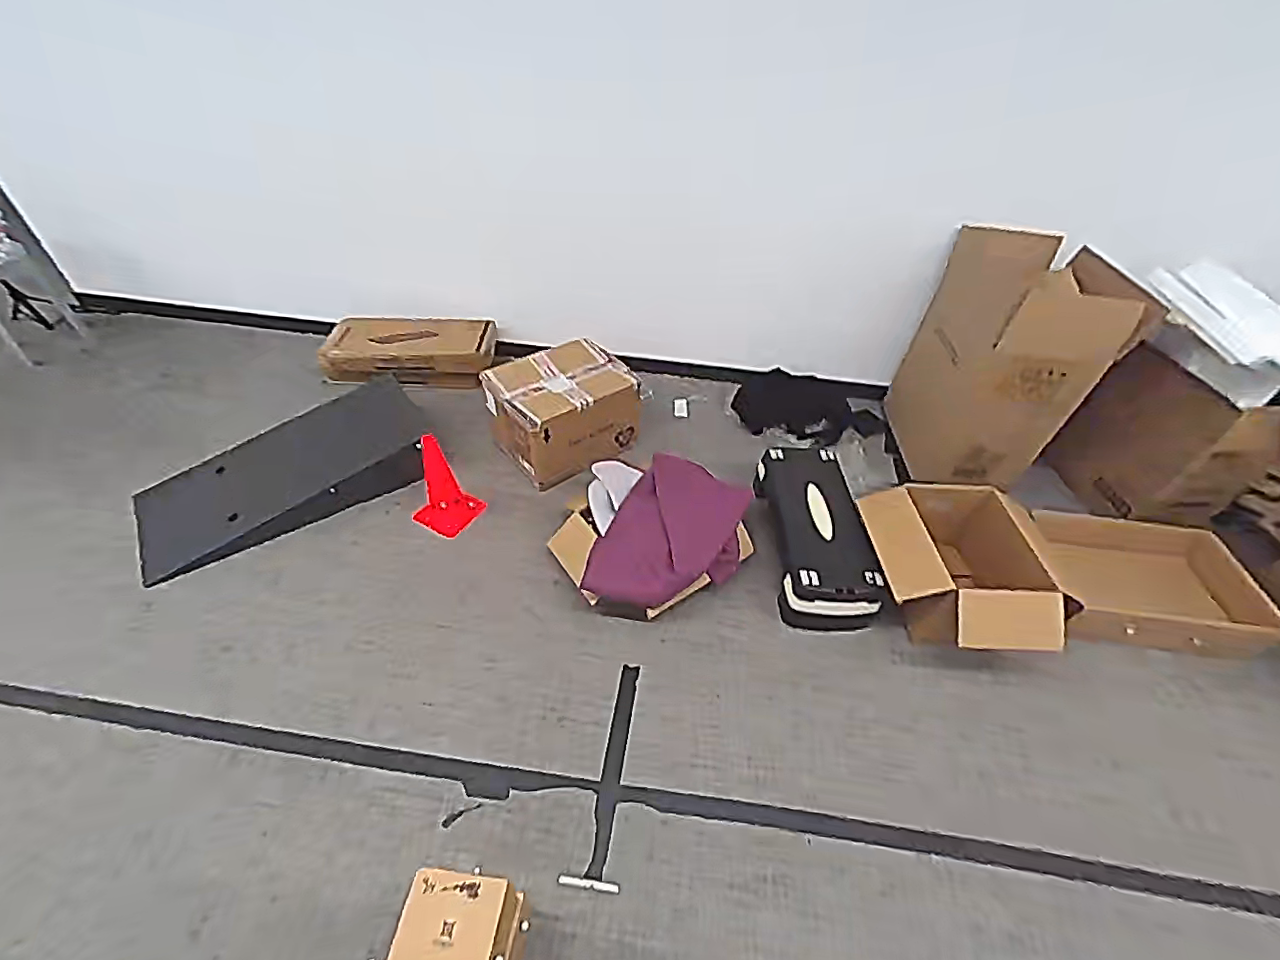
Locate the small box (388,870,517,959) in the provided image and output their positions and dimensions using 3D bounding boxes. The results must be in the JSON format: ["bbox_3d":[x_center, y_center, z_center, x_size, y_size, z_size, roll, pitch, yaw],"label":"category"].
[{"bbox_3d":[-0.324,0.818,0.949,0.168,0.176,0.179,7,44,4],"label":"small box"}]

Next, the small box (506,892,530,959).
[{"bbox_3d":[-0.322,0.929,1.070,0.168,0.176,0.179,8,44,5],"label":"small box"}]
